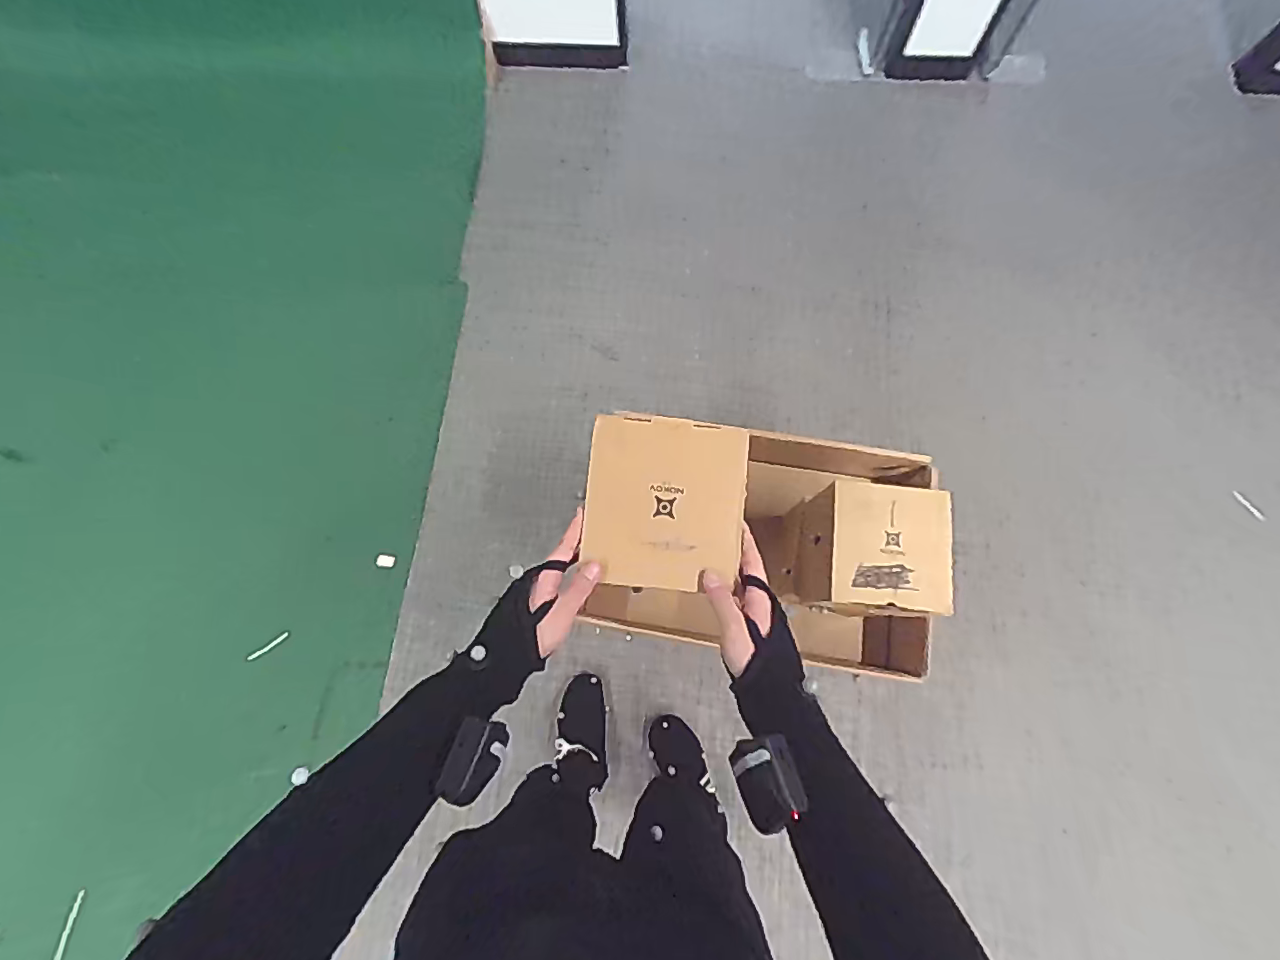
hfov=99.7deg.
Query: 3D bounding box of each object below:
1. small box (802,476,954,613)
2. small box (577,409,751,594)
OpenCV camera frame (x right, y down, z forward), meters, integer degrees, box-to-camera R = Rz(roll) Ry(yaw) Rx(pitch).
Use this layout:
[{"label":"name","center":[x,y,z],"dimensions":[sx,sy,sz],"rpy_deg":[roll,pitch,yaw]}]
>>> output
[{"label":"small box","center":[0.354,0.106,0.829],"dimensions":[0.168,0.176,0.179],"rpy_deg":[7,75,3]},{"label":"small box","center":[0.025,0.030,0.633],"dimensions":[0.168,0.176,0.179],"rpy_deg":[6,83,0]}]
